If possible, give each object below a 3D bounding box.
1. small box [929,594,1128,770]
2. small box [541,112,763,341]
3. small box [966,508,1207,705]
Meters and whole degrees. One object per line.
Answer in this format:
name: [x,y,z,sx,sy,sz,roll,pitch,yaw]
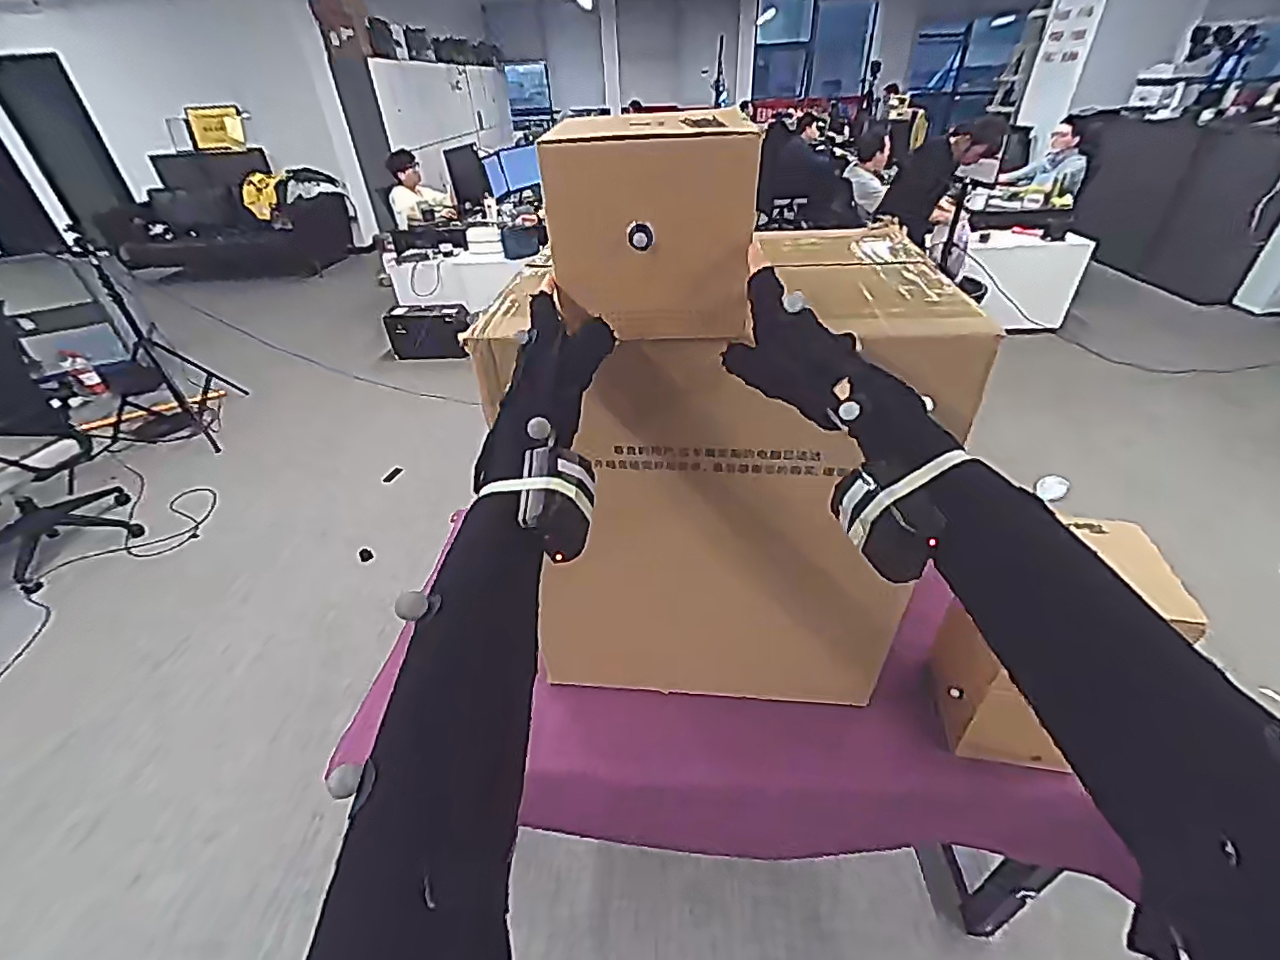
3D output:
small box: [0.554,0.298,0.803,0.168,0.176,0.179,5,35,10]
small box: [0.016,-0.247,0.529,0.179,0.176,0.168,-1,38,4]
small box: [0.556,0.163,0.708,0.168,0.176,0.179,7,38,13]
